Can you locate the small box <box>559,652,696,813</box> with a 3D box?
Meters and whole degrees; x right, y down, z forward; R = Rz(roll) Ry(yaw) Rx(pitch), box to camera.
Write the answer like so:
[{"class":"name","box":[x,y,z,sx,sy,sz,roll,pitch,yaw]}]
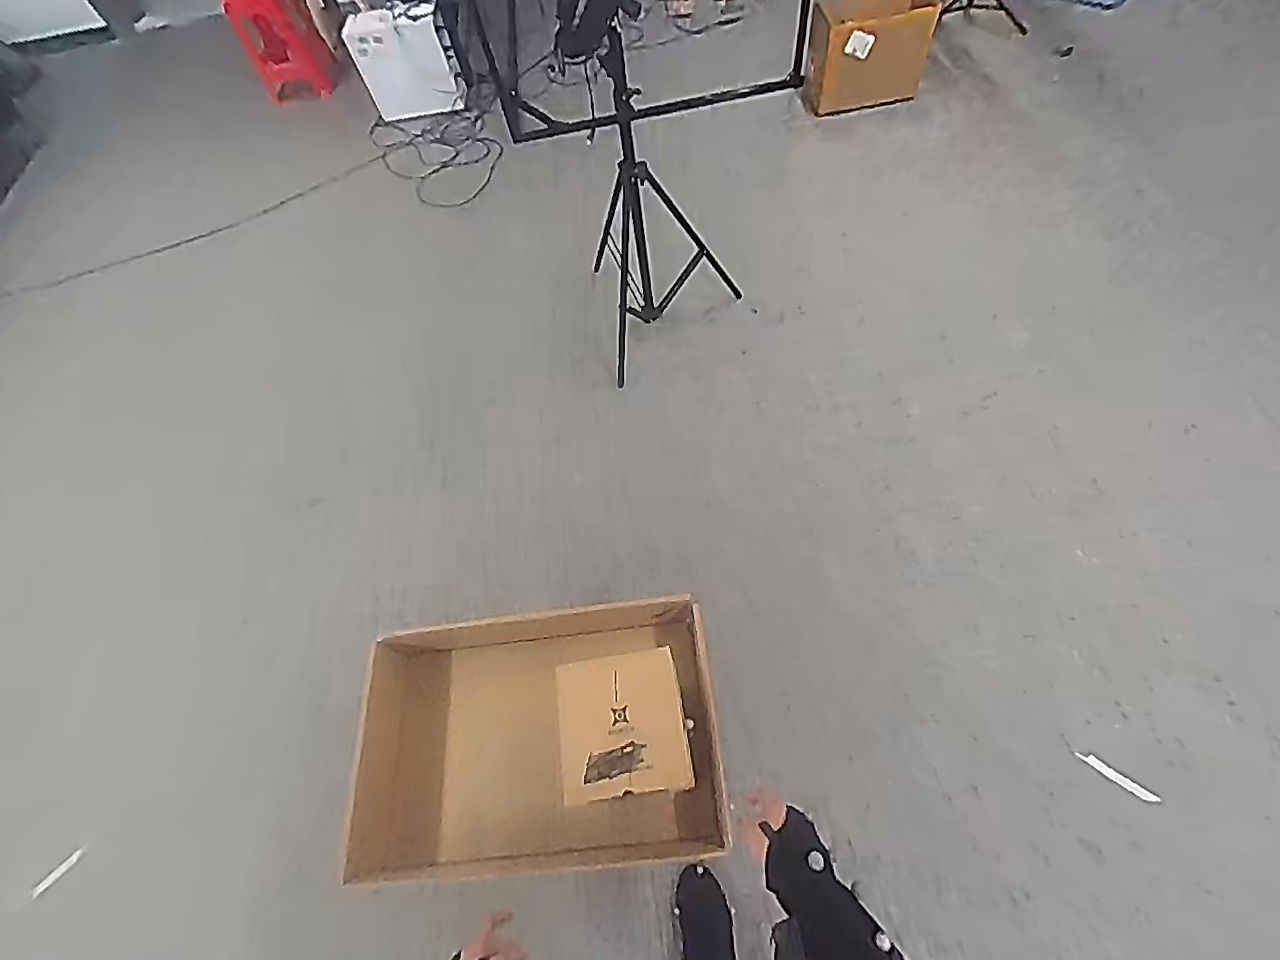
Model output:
[{"class":"small box","box":[-0.013,0.363,0.780,0.168,0.176,0.179,-10,61,1]}]
